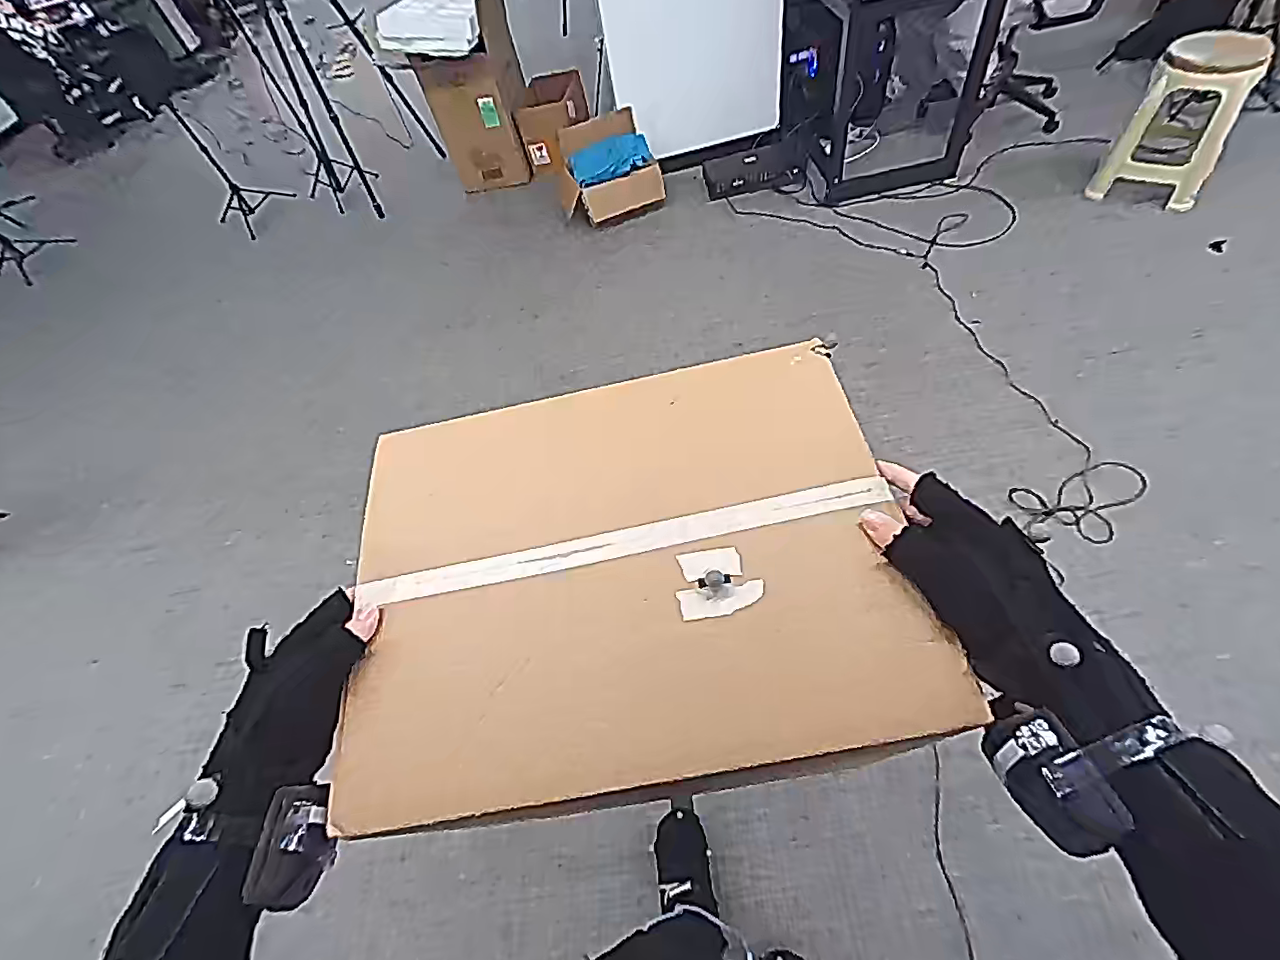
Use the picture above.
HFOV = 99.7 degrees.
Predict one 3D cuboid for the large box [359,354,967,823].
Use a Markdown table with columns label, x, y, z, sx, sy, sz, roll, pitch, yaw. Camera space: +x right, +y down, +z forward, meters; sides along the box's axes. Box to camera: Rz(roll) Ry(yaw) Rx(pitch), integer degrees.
| label | x | y | z | sx | sy | sz | roll | pitch | yaw |
| --- | --- | --- | --- | --- | --- | --- | --- | --- | --- |
| large box | 0.009 | 0.129 | 0.544 | 0.408 | 0.320 | 0.320 | -11 | 58 | 3 |
